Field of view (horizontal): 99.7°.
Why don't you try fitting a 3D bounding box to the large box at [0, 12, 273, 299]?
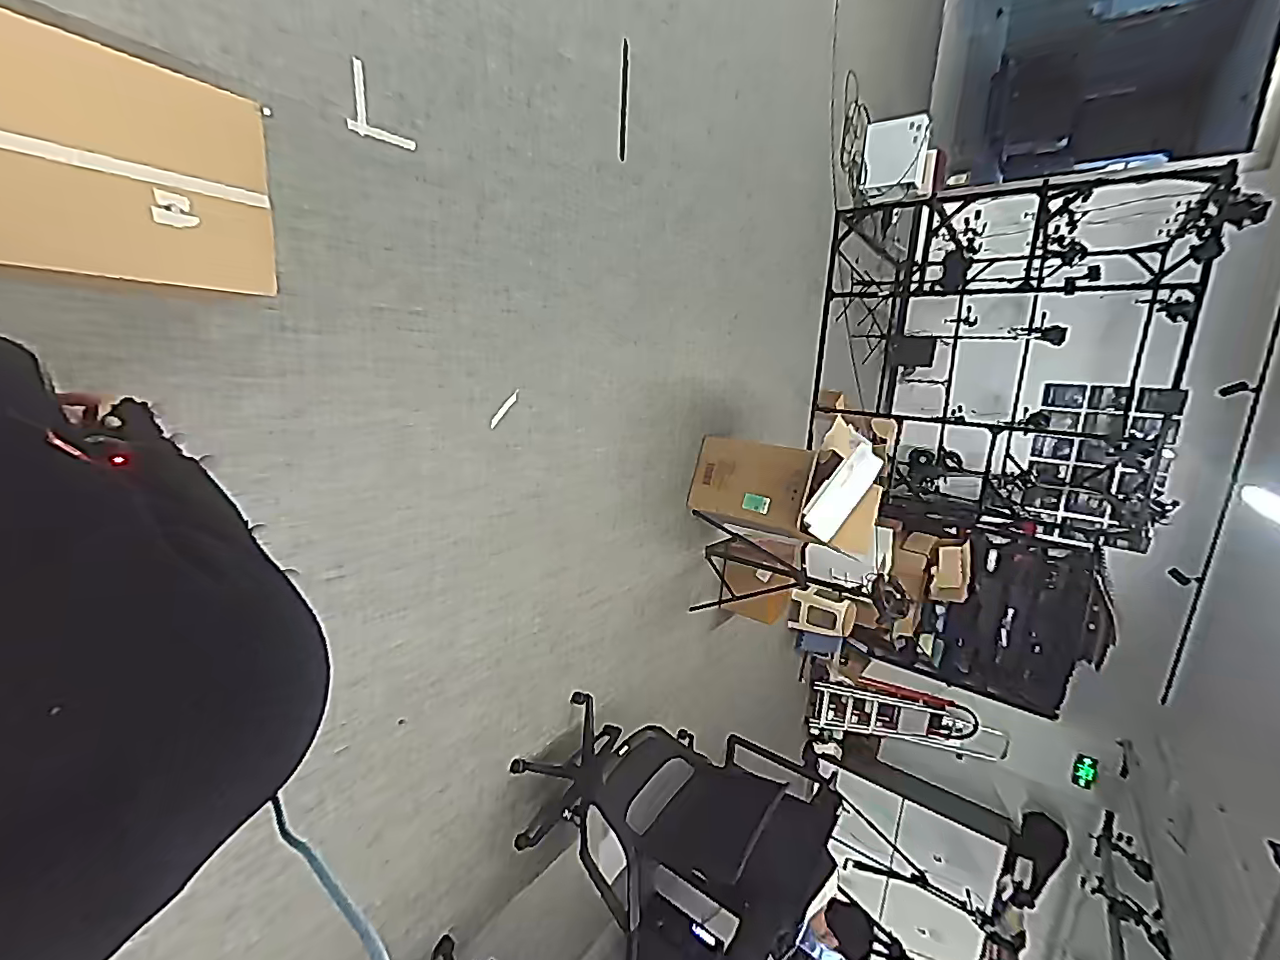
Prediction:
[{"bbox_3d":[-0.888,-0.474,0.859,0.408,0.320,0.320,-14,111,-54],"label":"large box"}]
